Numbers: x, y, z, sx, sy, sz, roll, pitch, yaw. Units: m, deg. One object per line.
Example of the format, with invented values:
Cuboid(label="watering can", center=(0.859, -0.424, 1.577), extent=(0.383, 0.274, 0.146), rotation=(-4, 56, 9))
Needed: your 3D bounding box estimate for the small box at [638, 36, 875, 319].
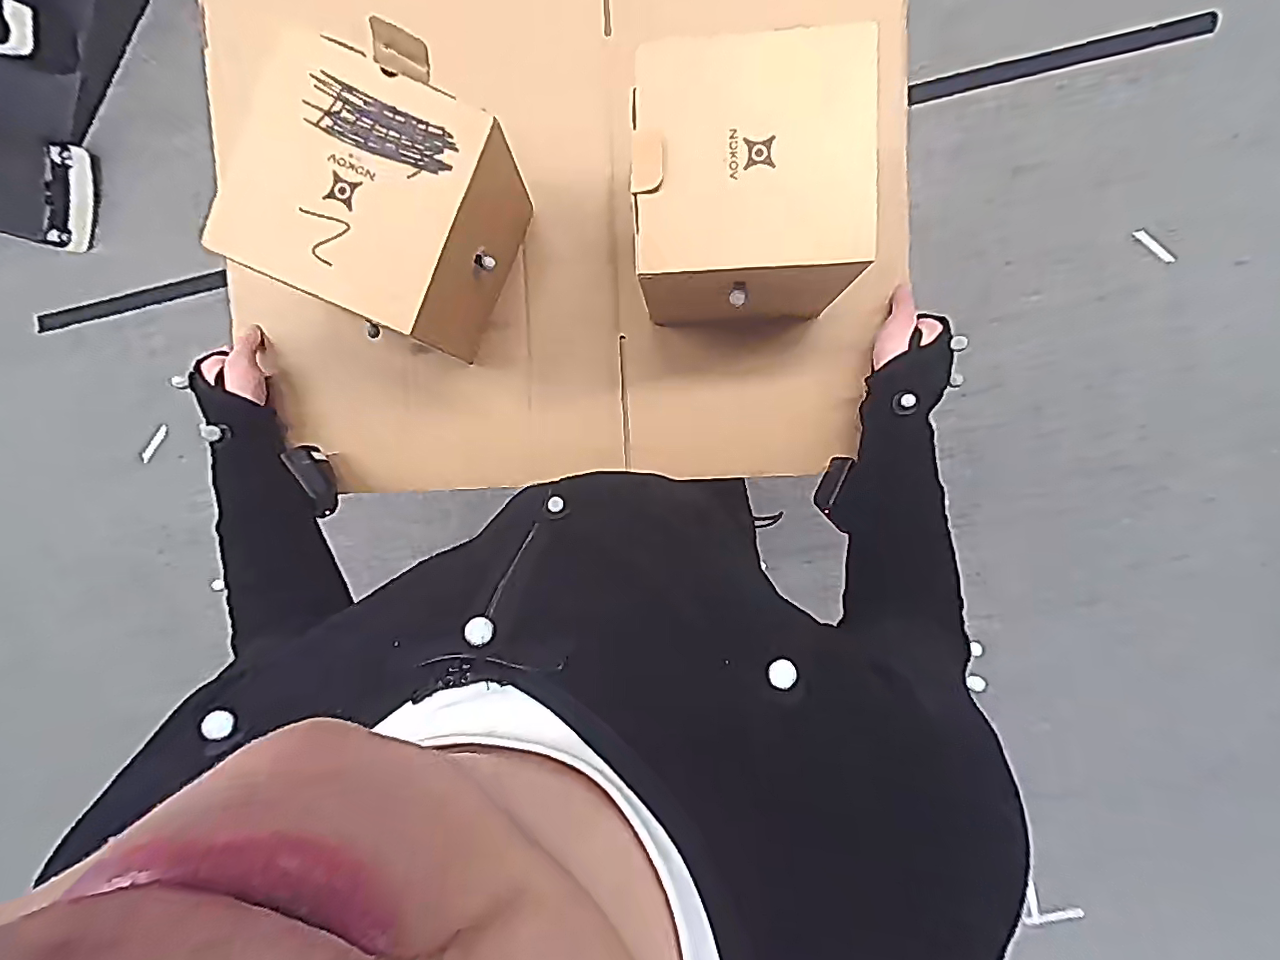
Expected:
Cuboid(label="small box", center=(0.093, -0.247, 0.486), extent=(0.179, 0.176, 0.168), rotation=(-1, 94, 6))
